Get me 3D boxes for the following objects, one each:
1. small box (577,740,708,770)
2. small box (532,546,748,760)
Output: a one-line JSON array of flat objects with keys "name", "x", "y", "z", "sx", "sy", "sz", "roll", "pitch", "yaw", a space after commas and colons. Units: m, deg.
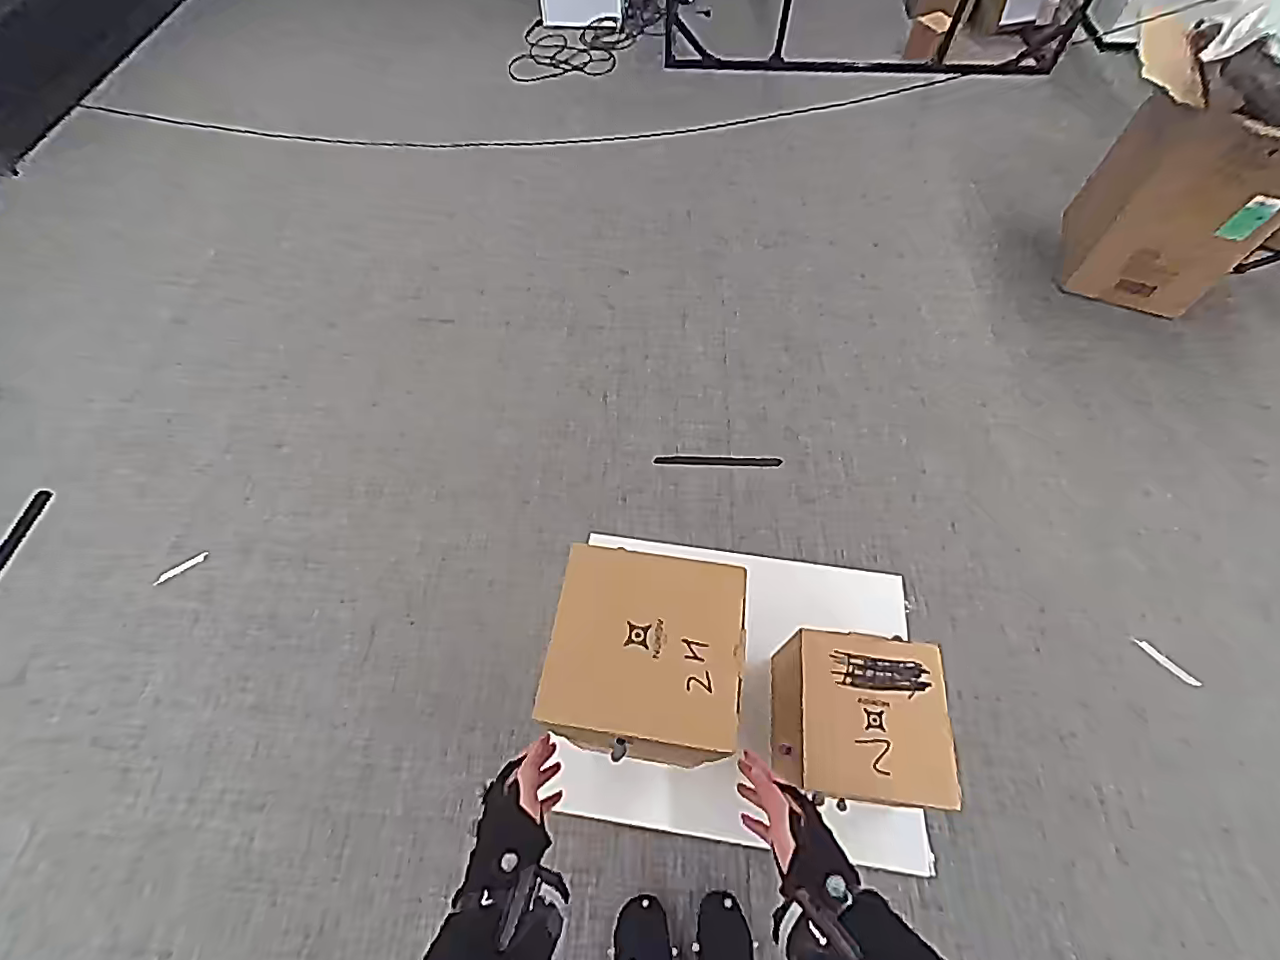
[{"name": "small box", "x": 0.007, "y": 0.263, "z": 0.703, "sx": 0.168, "sy": 0.176, "sz": 0.179, "roll": 8, "pitch": 60, "yaw": 5}, {"name": "small box", "x": 0.006, "y": 0.185, "z": 0.558, "sx": 0.179, "sy": 0.176, "sz": 0.168, "roll": 8, "pitch": 61, "yaw": 4}]
